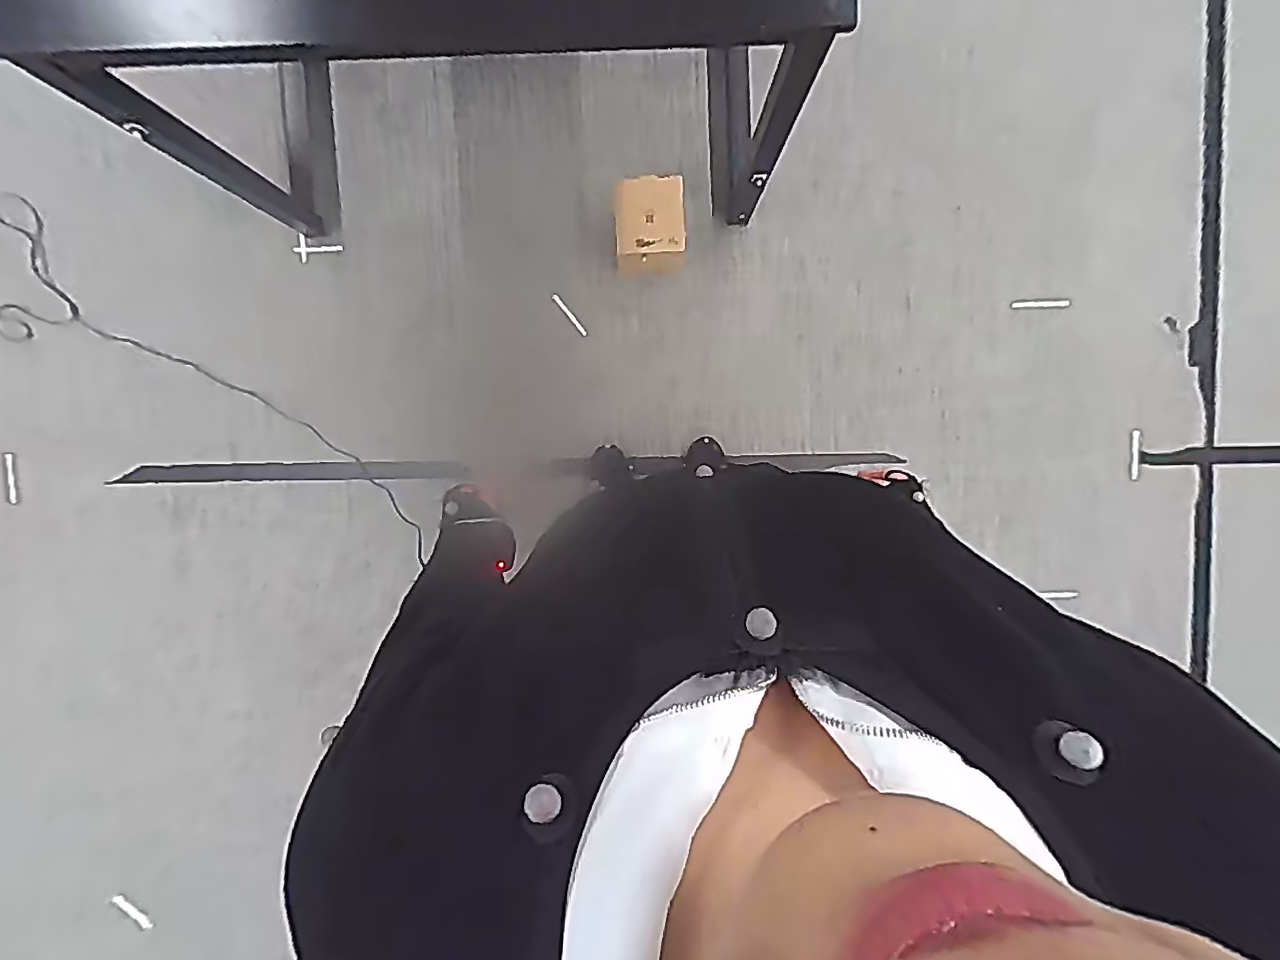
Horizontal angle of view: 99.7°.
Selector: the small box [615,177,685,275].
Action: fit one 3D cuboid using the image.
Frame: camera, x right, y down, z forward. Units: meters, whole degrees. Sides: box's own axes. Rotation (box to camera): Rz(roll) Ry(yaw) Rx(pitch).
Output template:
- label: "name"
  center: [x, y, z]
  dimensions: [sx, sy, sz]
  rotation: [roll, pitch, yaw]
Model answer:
- label: "small box"
  center: [0.024, -0.637, 1.369]
  dimensions: [0.168, 0.176, 0.179]
  rotation: [-2, 94, 1]
